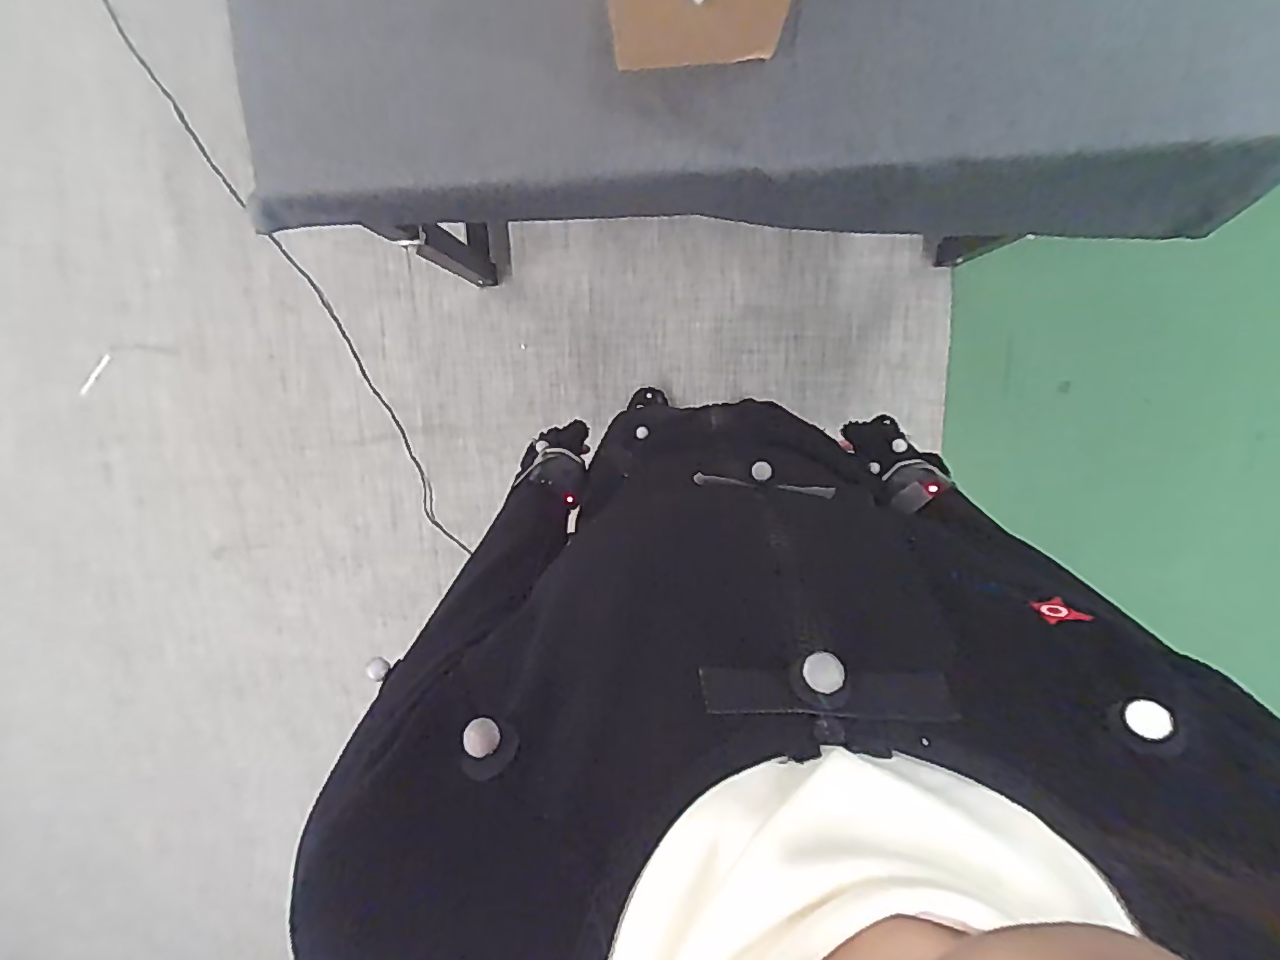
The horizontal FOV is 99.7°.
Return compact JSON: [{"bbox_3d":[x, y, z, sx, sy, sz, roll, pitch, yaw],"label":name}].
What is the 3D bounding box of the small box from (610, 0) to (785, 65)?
[{"bbox_3d":[0.054,-0.532,0.514,0.179,0.176,0.168,-3,101,2],"label":"small box"}]
